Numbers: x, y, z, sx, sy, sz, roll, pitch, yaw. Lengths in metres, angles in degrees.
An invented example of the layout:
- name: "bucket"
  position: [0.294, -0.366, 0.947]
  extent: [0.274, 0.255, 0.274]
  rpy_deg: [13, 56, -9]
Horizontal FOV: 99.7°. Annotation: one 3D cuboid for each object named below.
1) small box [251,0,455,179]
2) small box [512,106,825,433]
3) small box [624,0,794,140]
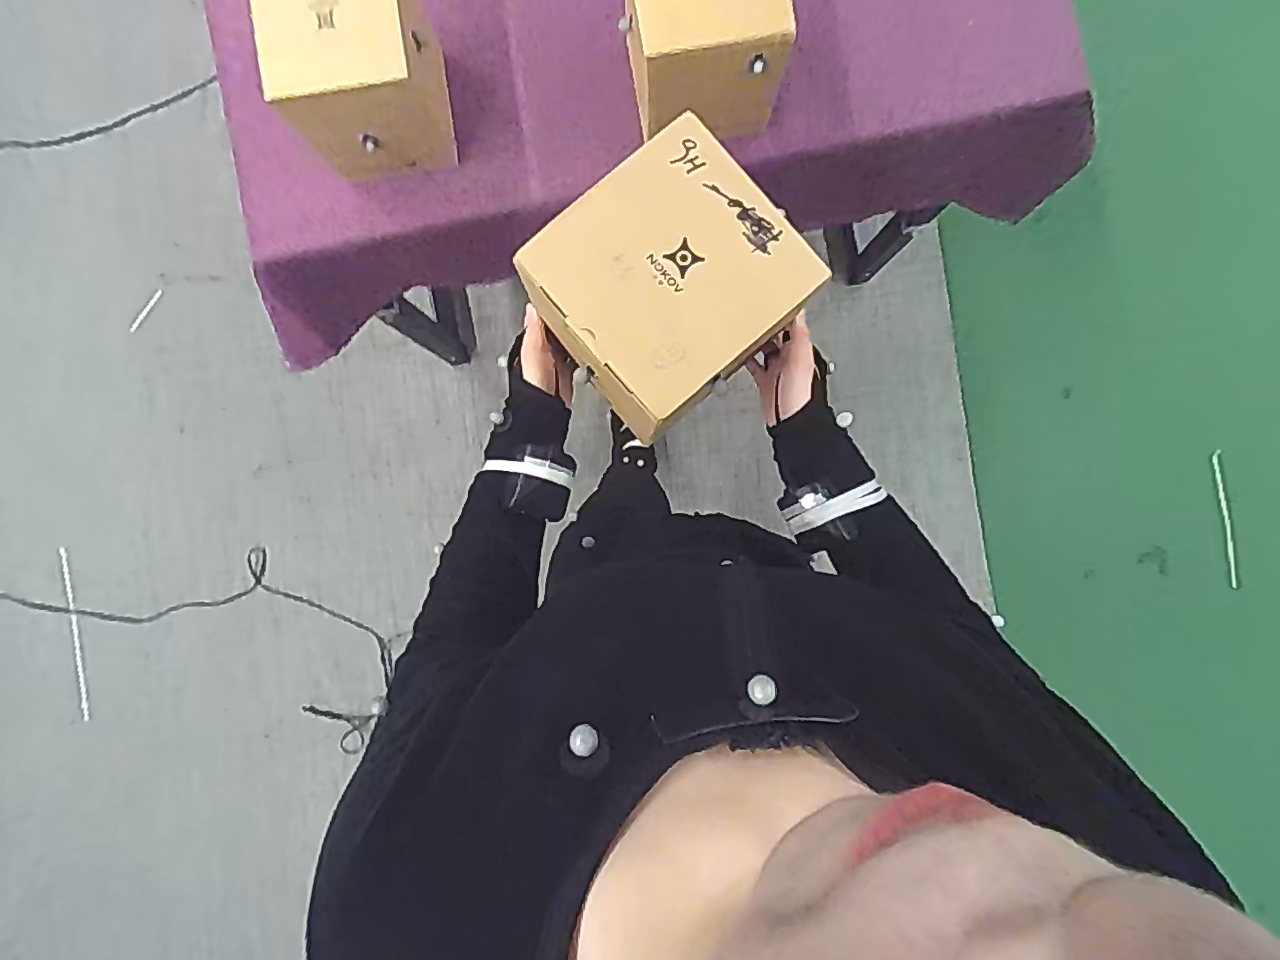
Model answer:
- name: "small box"
  position: [-0.350, -0.511, 0.686]
  extent: [0.168, 0.176, 0.179]
  rpy_deg: [-8, 88, 0]
- name: "small box"
  position: [0.021, -0.159, 0.475]
  extent: [0.179, 0.176, 0.168]
  rpy_deg: [-40, 90, -2]
- name: "small box"
  position: [0.076, -0.554, 0.683]
  extent: [0.179, 0.176, 0.168]
  rpy_deg: [-10, 88, 0]
